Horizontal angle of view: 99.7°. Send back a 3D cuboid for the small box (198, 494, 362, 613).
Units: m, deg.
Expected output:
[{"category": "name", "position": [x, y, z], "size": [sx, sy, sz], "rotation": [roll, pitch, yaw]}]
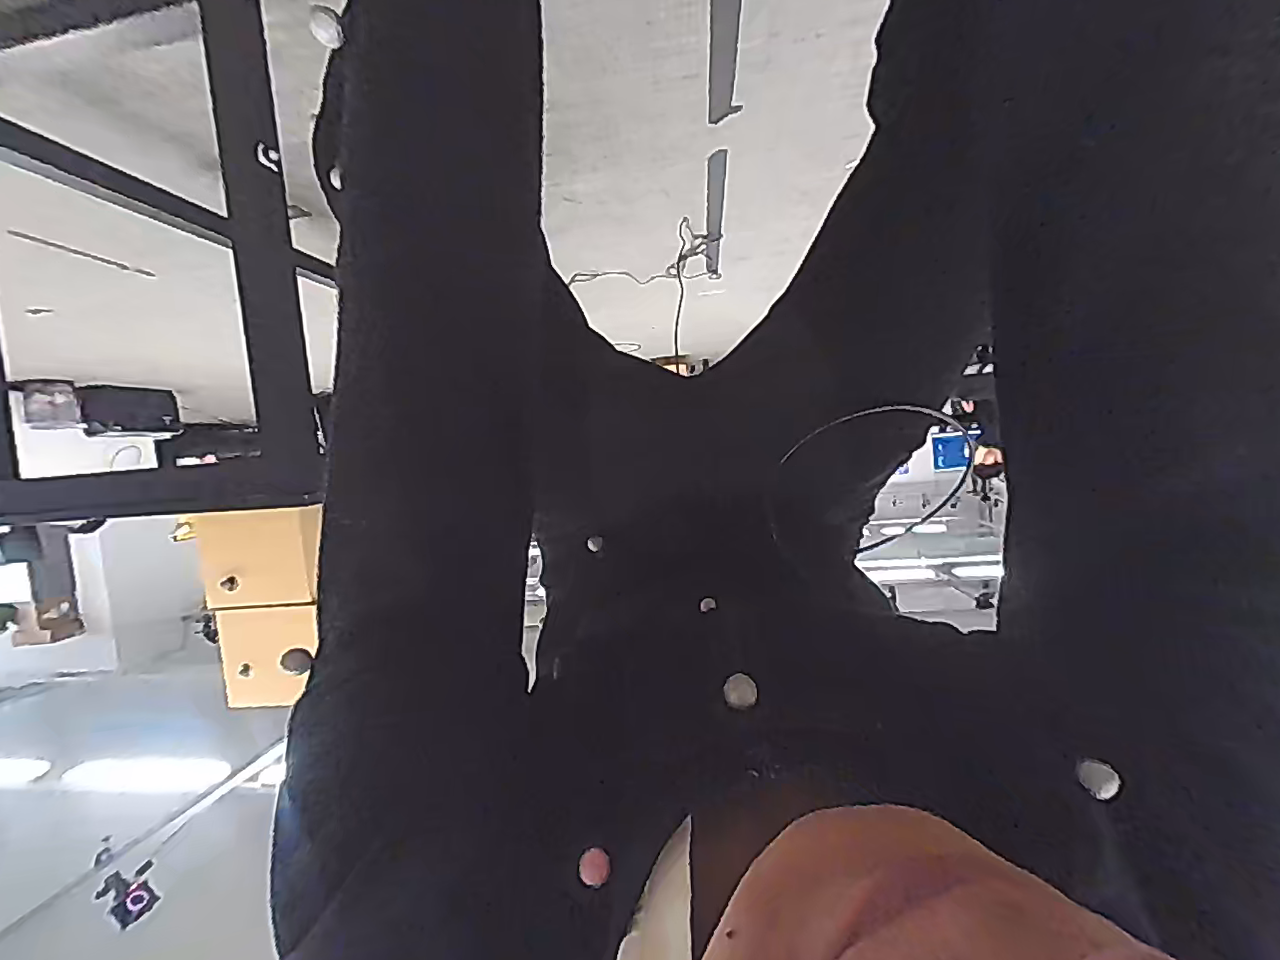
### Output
[{"category": "small box", "position": [-0.606, 0.116, 0.919], "size": [0.179, 0.176, 0.168], "rotation": [-4, -175, 3]}]
